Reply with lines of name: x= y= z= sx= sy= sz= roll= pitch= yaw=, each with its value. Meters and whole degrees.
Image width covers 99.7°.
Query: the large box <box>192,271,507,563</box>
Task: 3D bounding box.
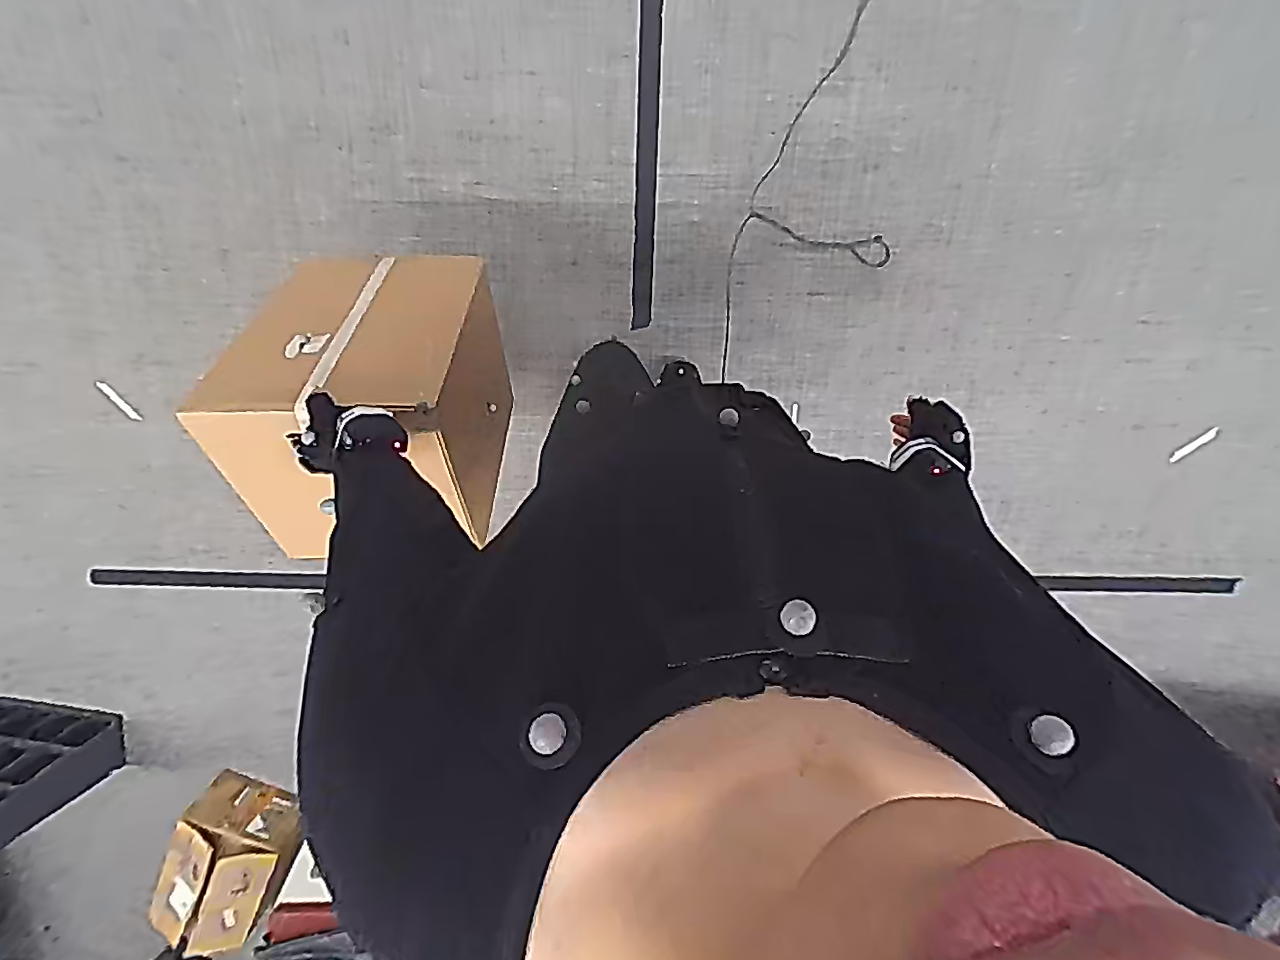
large box: x=-0.419 y=-0.114 z=0.917 sx=0.320 sy=0.408 sz=0.320 roll=-3 pitch=137 yaw=-2
